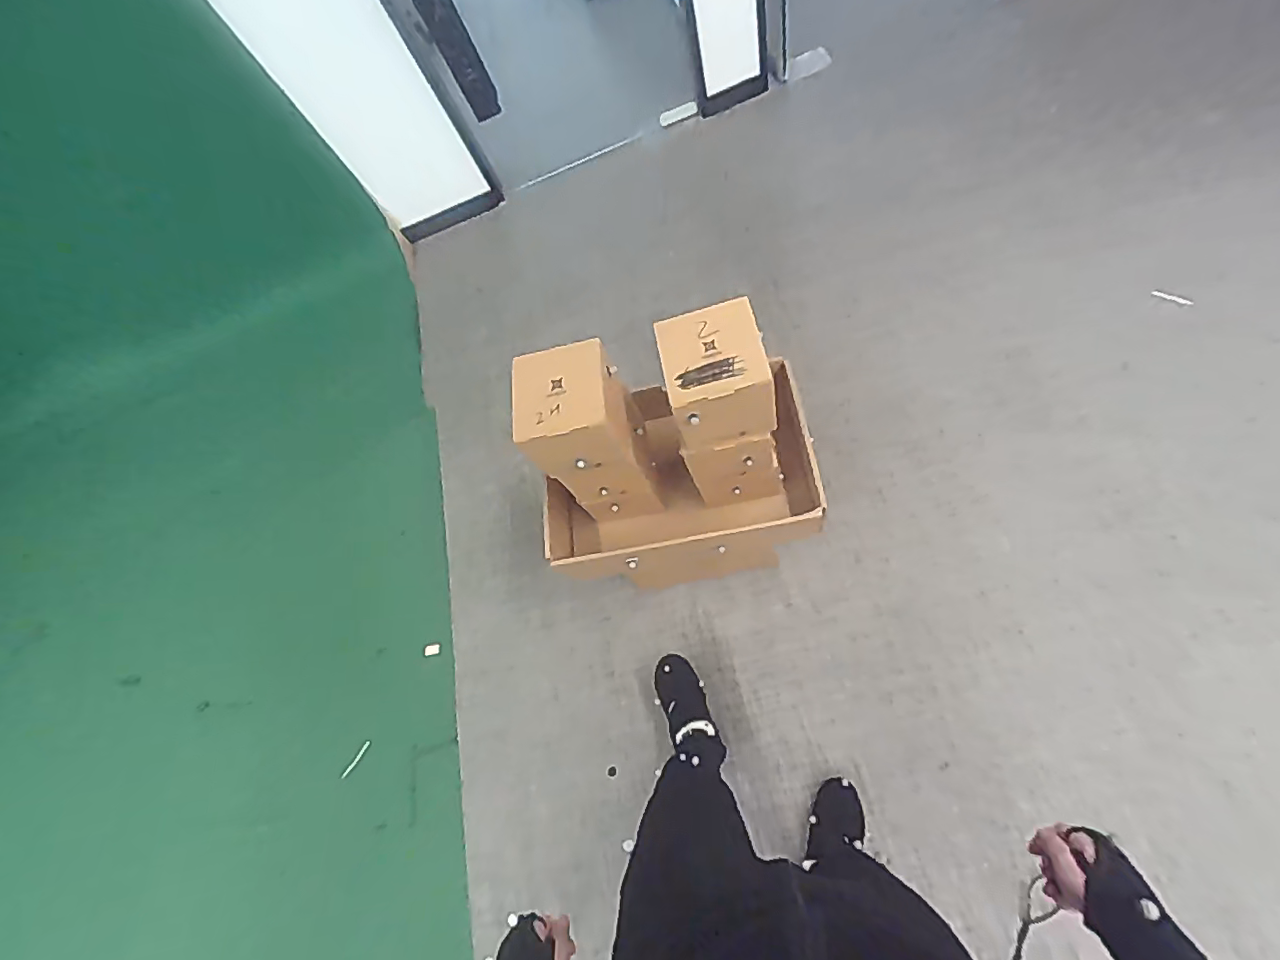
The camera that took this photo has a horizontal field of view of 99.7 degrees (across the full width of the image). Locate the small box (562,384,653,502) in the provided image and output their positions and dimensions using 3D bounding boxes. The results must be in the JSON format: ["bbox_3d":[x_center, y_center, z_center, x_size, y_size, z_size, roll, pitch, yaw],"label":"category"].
[{"bbox_3d":[-0.074,-0.072,1.139,0.168,0.176,0.179,-10,66,11],"label":"small box"}]

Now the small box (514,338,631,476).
[{"bbox_3d":[-0.118,-0.127,0.990,0.168,0.176,0.179,-10,66,11],"label":"small box"}]

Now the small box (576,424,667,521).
[{"bbox_3d":[-0.043,-0.010,1.287,0.179,0.176,0.168,-10,65,11],"label":"small box"}]

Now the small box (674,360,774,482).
[{"bbox_3d":[0.172,-0.107,1.081,0.168,0.176,0.179,-10,65,11],"label":"small box"}]
